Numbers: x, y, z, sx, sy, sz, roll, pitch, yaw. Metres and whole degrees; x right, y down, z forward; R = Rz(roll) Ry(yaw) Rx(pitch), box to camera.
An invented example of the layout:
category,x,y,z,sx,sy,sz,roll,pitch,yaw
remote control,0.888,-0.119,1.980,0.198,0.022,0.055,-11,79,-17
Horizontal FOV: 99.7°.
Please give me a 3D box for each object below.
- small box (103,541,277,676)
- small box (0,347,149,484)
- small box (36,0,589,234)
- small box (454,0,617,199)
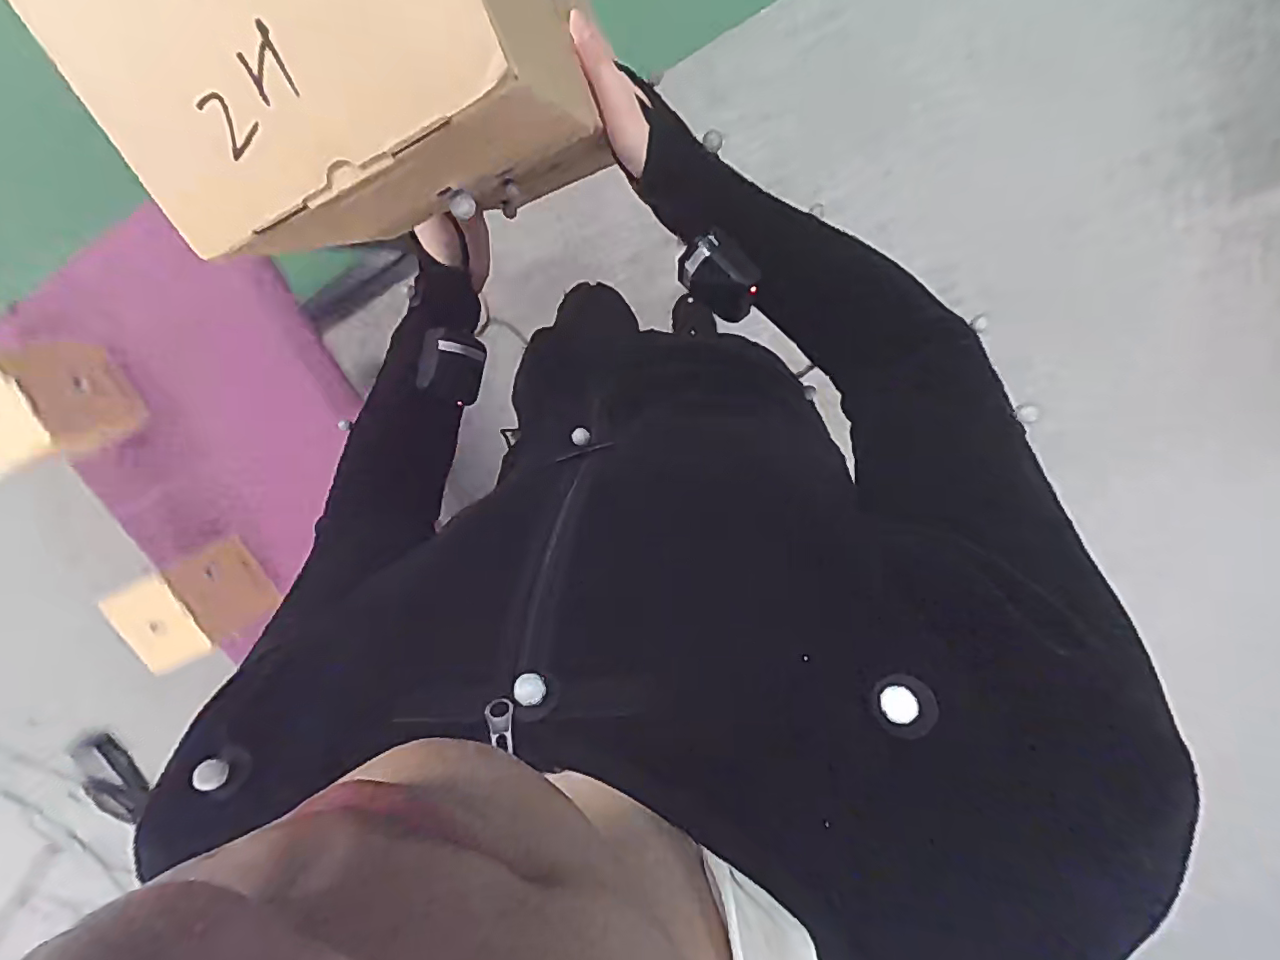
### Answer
category,x,y,z,sx,sy,sz,roll,pitch,yaw
small box,-0.855,0.243,1.053,0.179,0.176,0.168,-23,104,17
small box,-1.029,-0.120,0.948,0.179,0.176,0.168,-22,105,16
small box,-0.140,-0.237,0.254,0.168,0.176,0.179,-17,115,15
small box,-0.128,-0.324,0.394,0.168,0.176,0.179,-16,115,14
